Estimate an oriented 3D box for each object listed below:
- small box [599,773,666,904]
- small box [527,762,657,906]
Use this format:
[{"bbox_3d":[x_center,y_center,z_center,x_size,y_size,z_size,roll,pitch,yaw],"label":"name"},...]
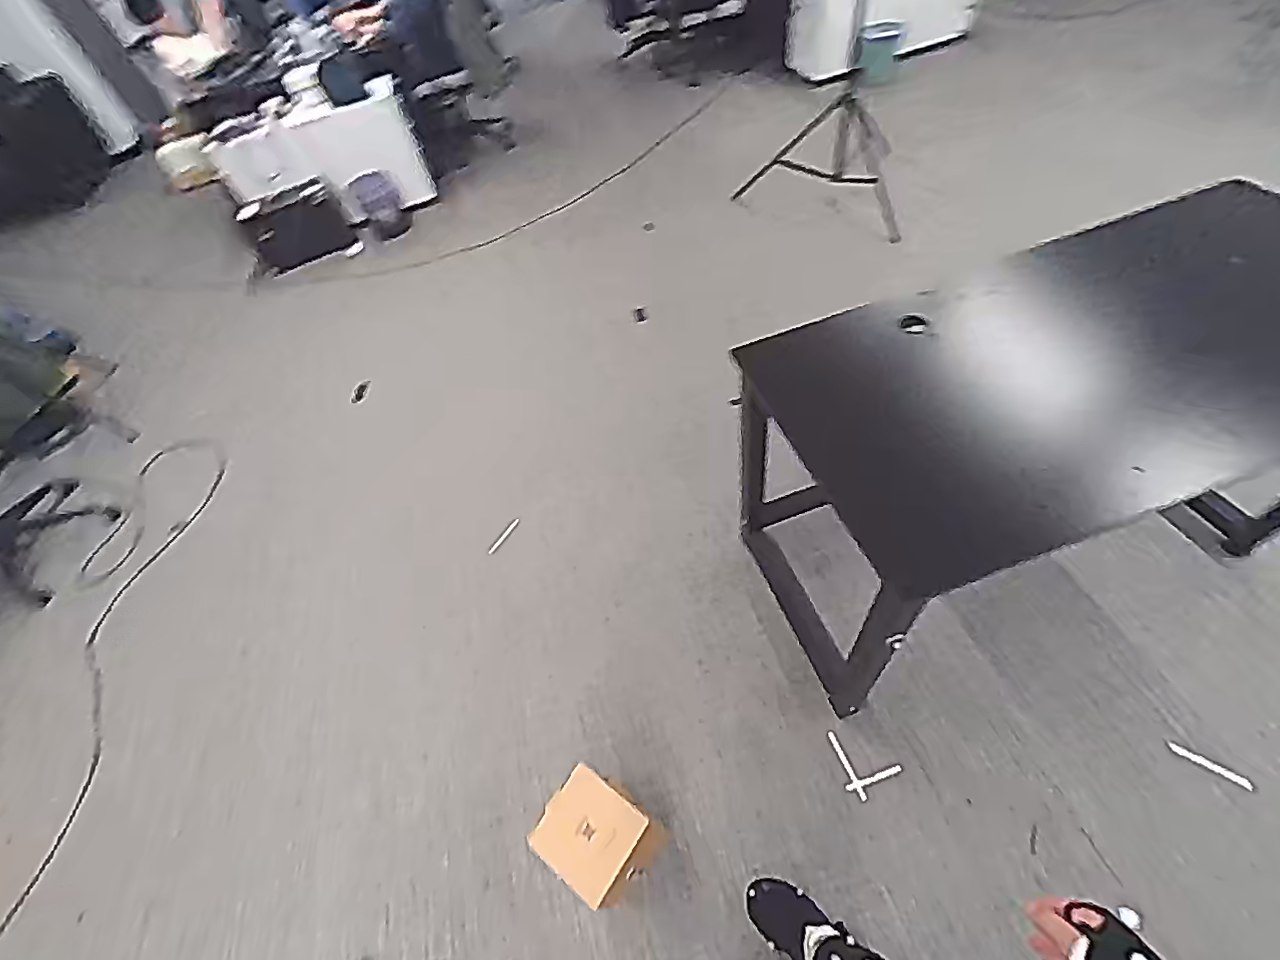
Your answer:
[{"bbox_3d":[-0.060,0.791,1.198,0.179,0.176,0.168,30,64,30],"label":"small box"},{"bbox_3d":[-0.087,0.697,1.068,0.179,0.176,0.168,26,64,26],"label":"small box"}]
